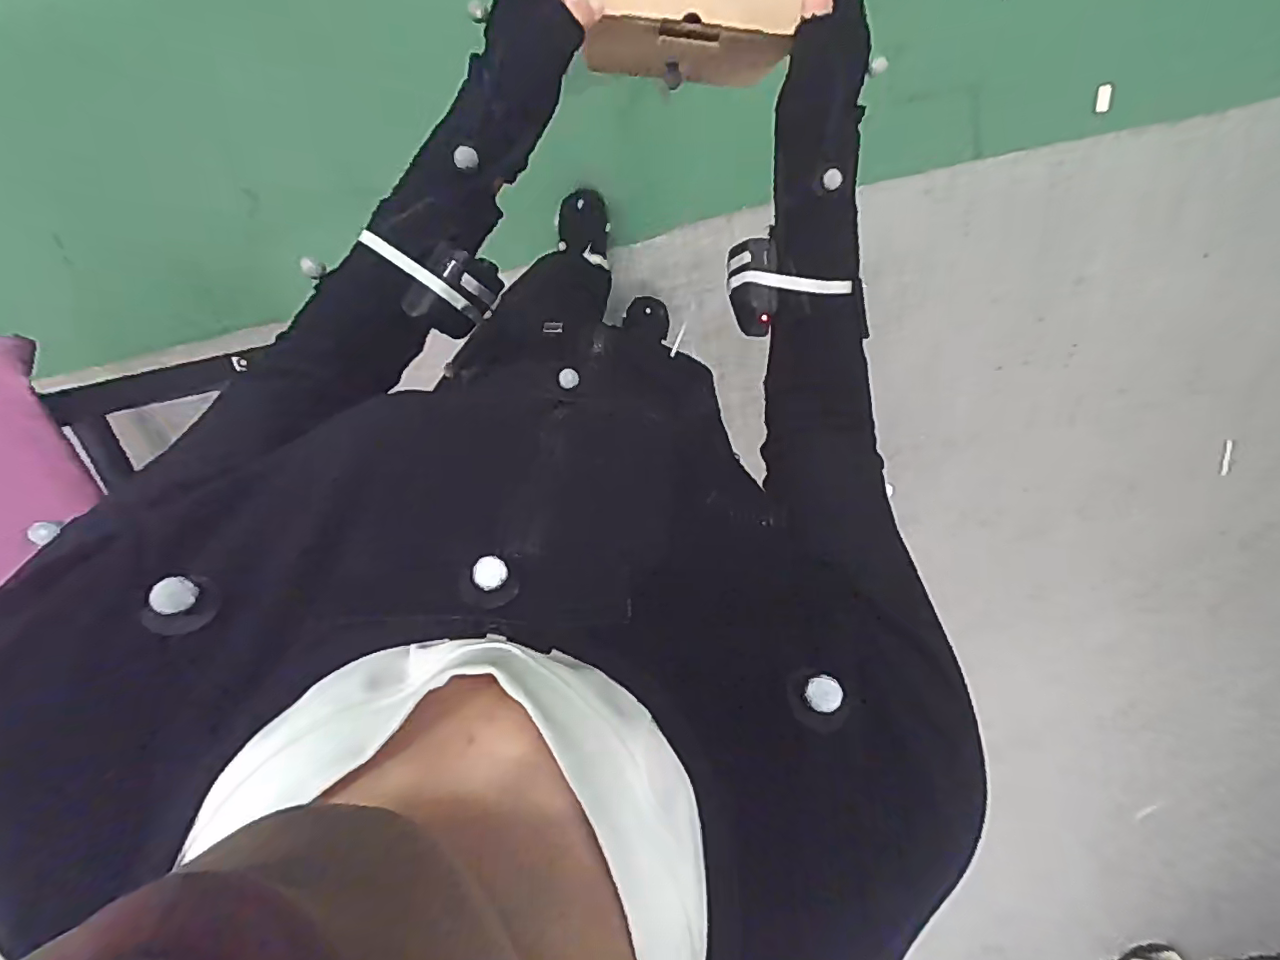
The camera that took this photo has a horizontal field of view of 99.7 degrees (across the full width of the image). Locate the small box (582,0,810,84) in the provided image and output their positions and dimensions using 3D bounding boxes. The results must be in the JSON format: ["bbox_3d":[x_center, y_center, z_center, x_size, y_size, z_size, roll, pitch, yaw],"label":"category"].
[{"bbox_3d":[0.042,-0.437,0.415,0.168,0.176,0.179,4,116,-4],"label":"small box"}]
